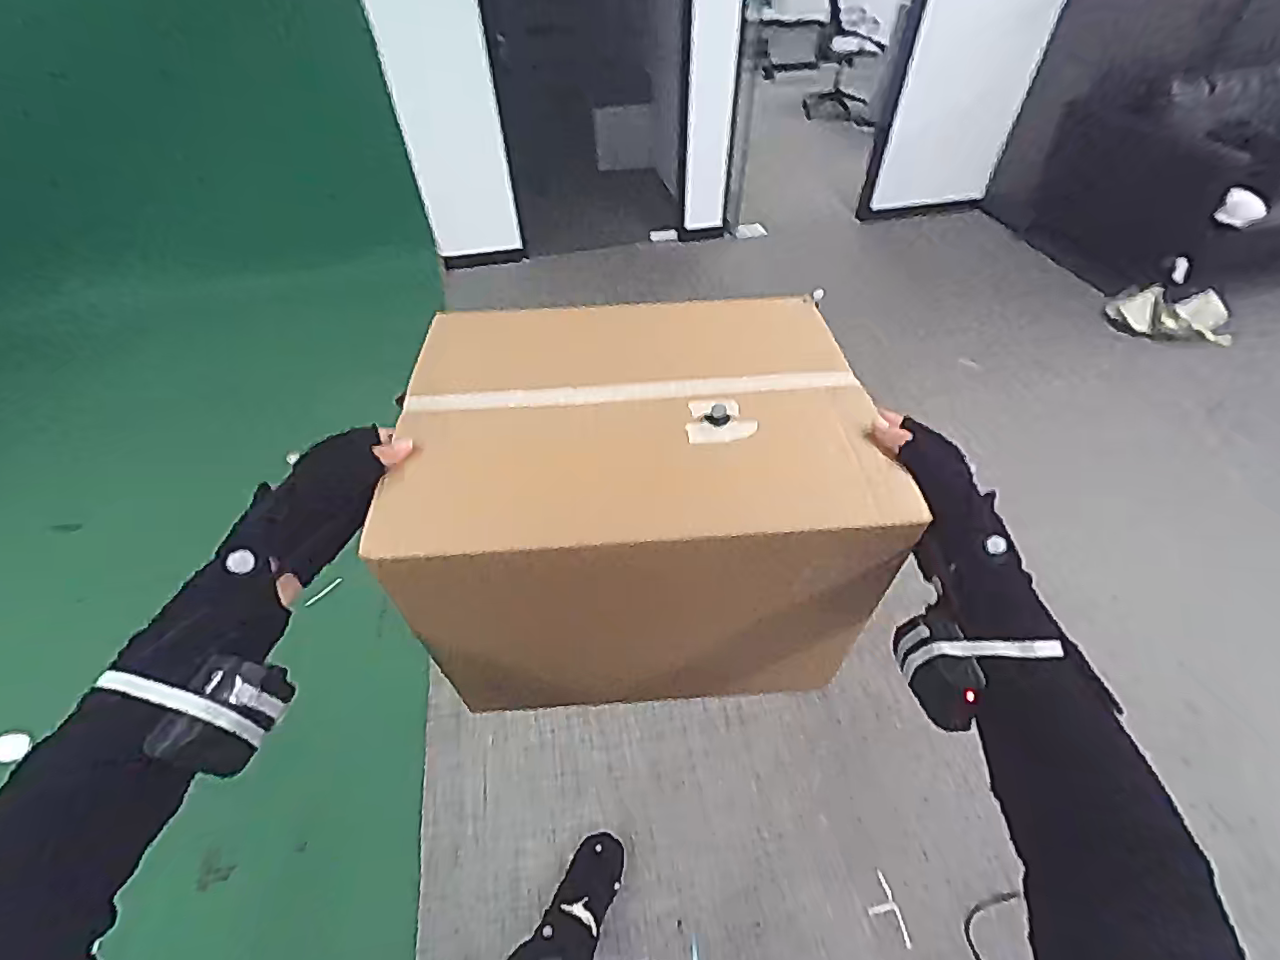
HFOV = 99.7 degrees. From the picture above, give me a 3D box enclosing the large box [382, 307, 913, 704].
[{"bbox_3d":[-0.001,0.030,0.604,0.408,0.320,0.320,-3,49,-2],"label":"large box"}]
